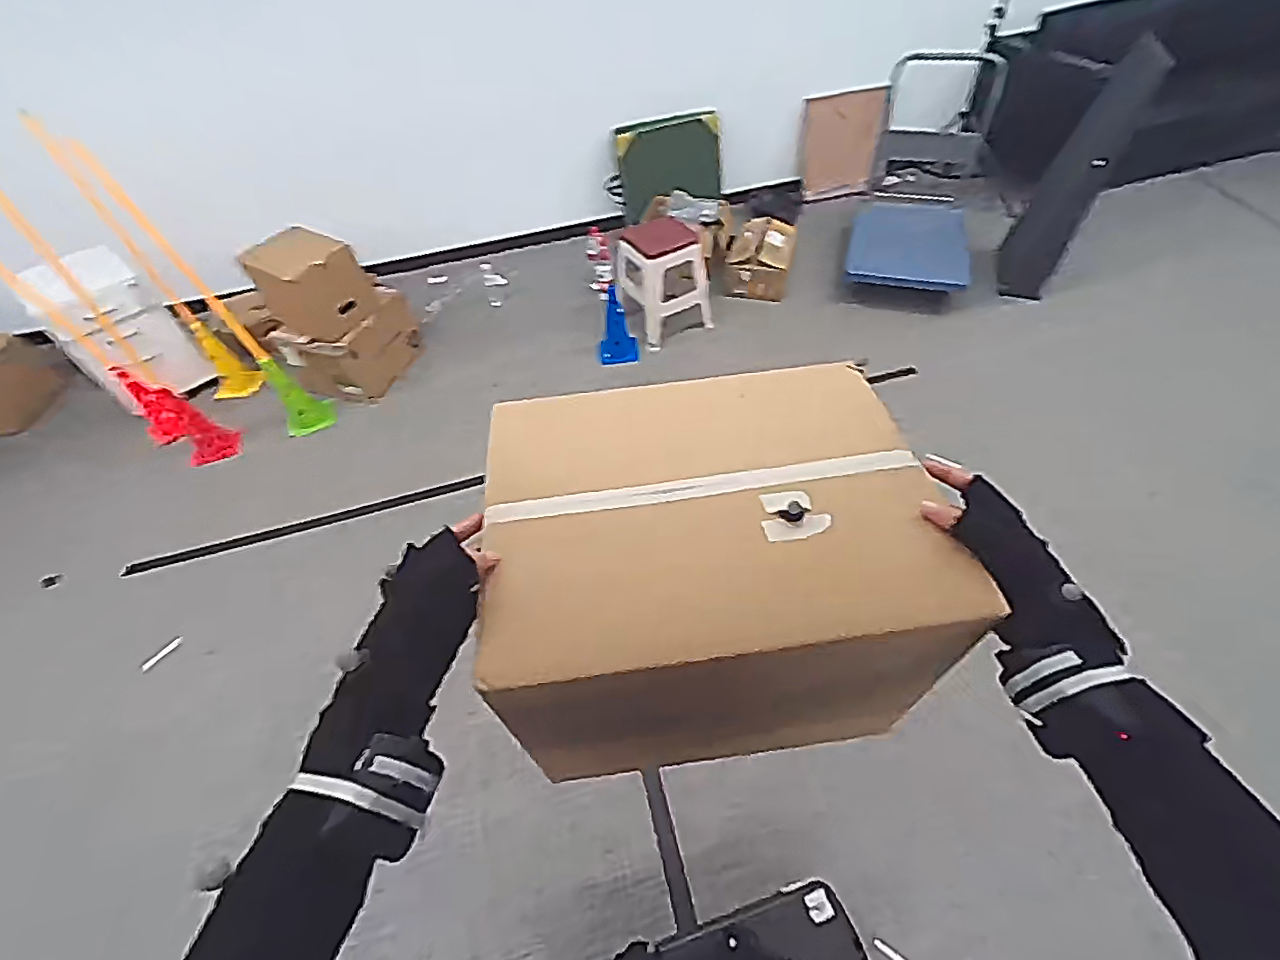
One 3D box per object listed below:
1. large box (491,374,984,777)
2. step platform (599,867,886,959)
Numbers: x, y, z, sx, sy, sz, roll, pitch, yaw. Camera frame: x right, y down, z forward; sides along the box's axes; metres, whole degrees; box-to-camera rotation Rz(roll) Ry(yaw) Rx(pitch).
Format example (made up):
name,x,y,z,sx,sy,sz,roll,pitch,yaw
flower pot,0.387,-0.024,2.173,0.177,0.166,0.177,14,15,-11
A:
name,x,y,z,sx,sy,sz,roll,pitch,yaw
large box,0.066,0.113,0.627,0.408,0.320,0.320,-7,50,-3
step platform,0.179,1.087,1.127,0.684,0.204,0.286,-16,50,-9
